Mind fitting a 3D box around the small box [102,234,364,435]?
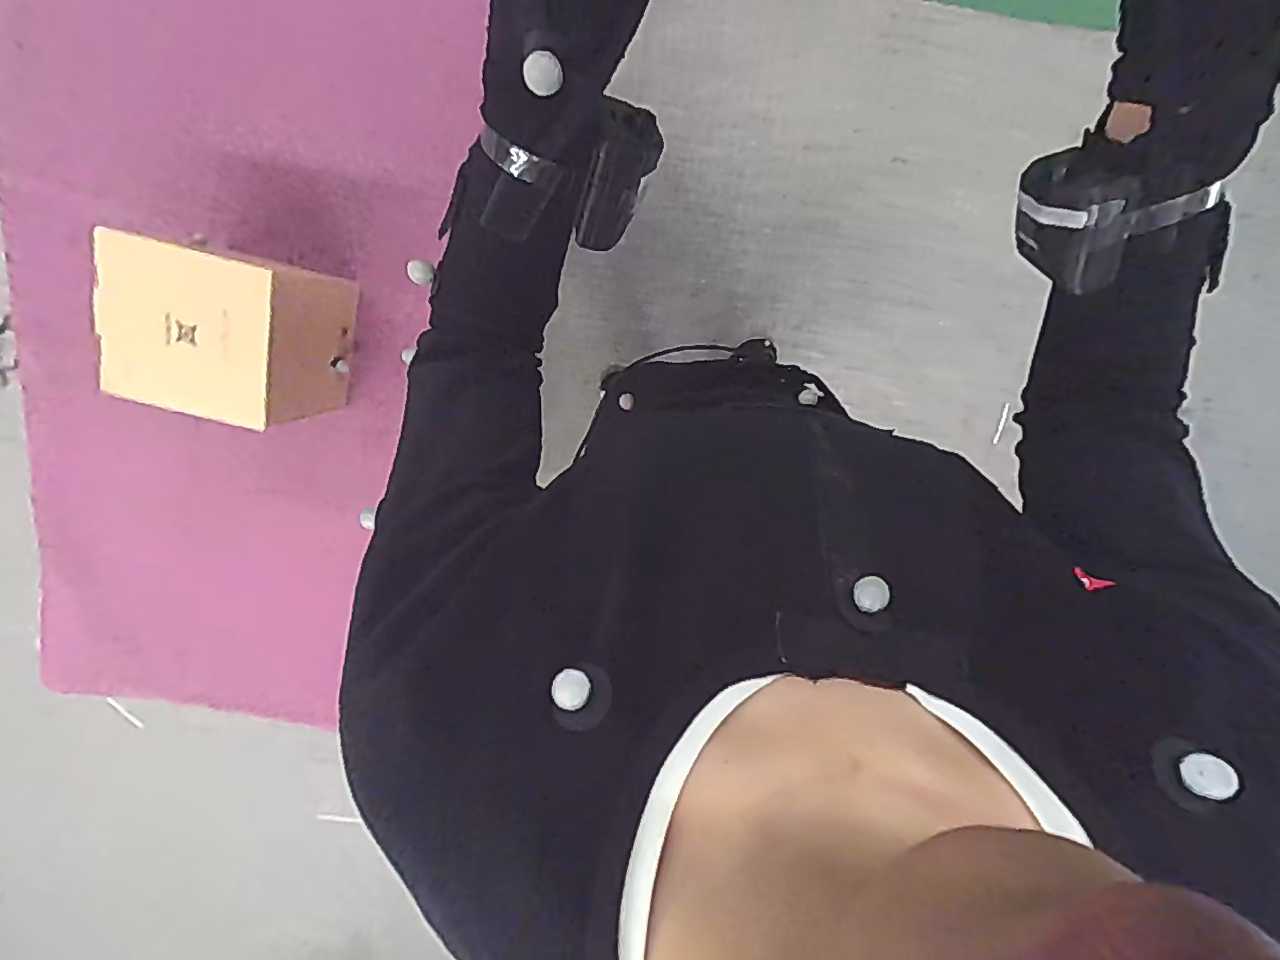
[{"bbox_3d":[-0.453,-0.164,0.623,0.179,0.176,0.168,14,106,-3],"label":"small box"}]
